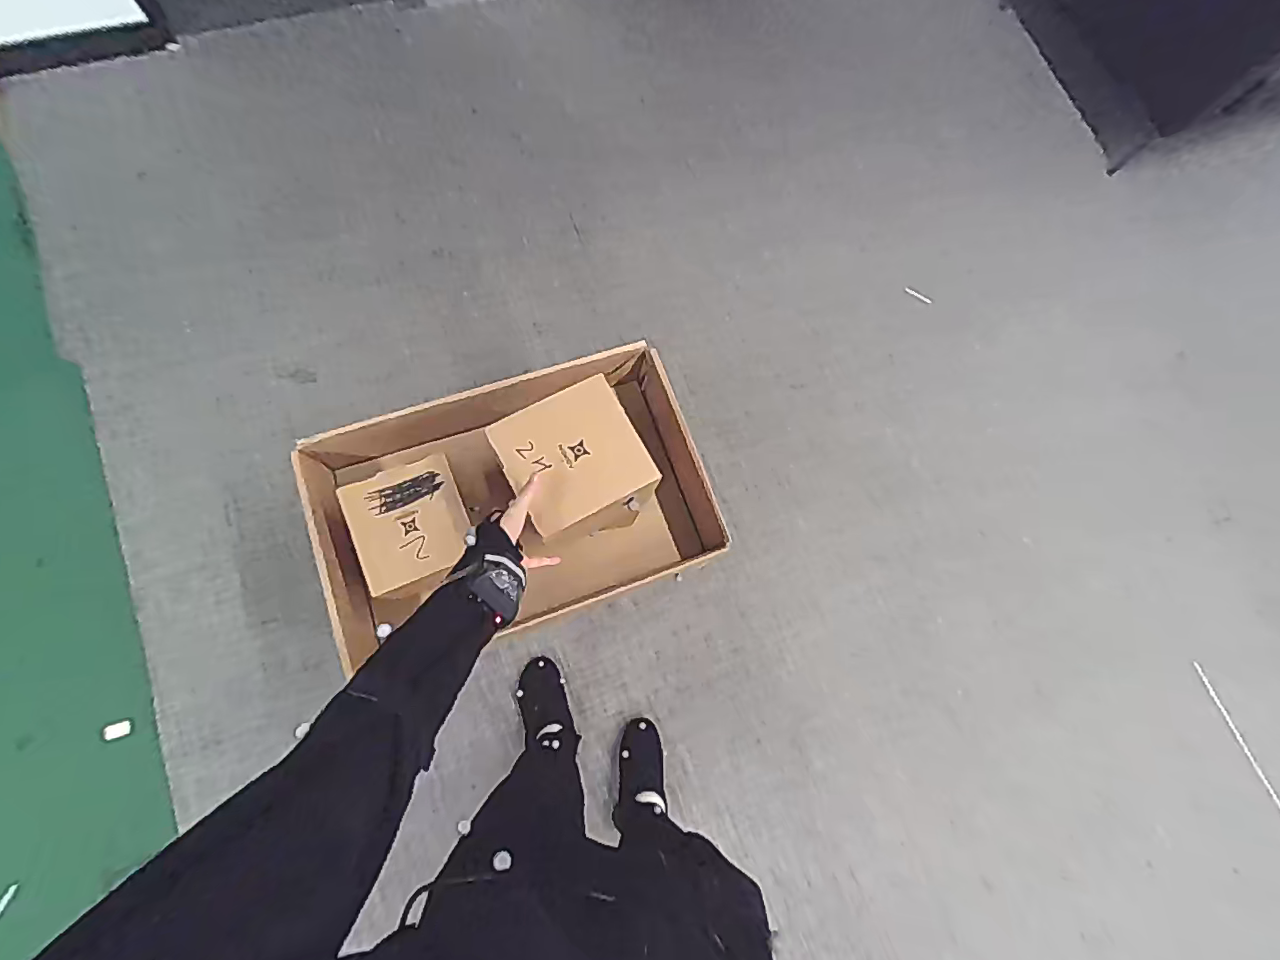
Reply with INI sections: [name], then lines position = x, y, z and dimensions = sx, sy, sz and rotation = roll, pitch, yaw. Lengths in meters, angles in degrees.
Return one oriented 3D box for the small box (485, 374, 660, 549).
[small box]
position = -0.094, -0.017, 0.764
dimensions = 0.179, 0.176, 0.168
rotation = -27, 80, -12
